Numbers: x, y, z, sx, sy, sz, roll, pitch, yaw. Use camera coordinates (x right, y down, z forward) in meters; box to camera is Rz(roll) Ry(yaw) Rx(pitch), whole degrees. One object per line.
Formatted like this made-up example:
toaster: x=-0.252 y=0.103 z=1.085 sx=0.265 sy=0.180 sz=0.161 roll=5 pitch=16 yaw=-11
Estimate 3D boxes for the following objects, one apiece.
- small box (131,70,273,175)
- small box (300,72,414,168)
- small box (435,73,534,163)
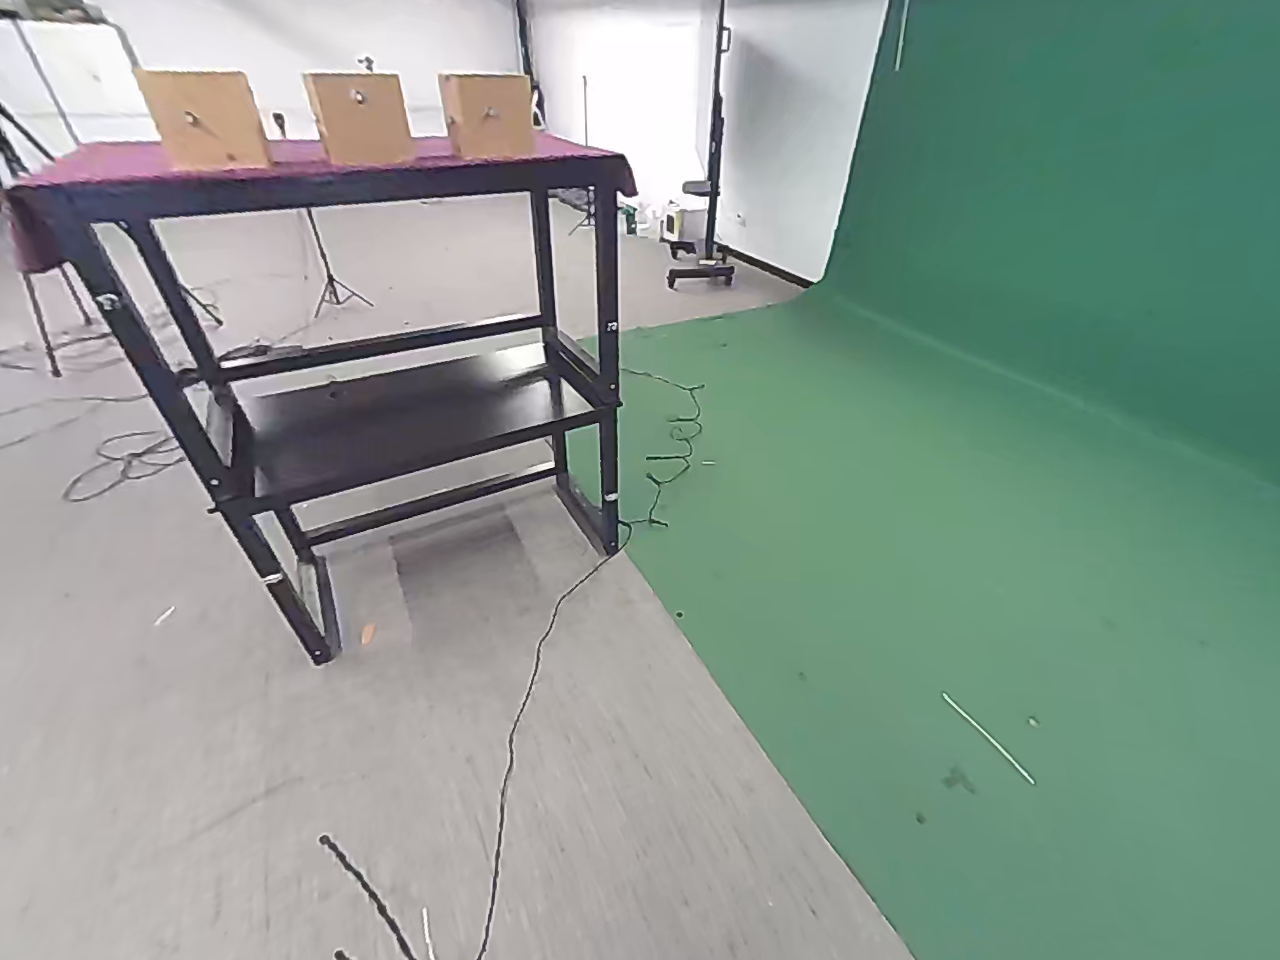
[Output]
small box: x=-0.876 y=-0.728 z=1.103 sx=0.168 sy=0.176 sz=0.179 roll=-16 pitch=39 yaw=-21
small box: x=-0.631 y=-0.805 z=1.211 sx=0.179 sy=0.176 sz=0.168 roll=-20 pitch=42 yaw=-25
small box: x=-0.375 y=-0.883 z=1.319 sx=0.179 sy=0.176 sz=0.168 roll=-20 pitch=43 yaw=-23
